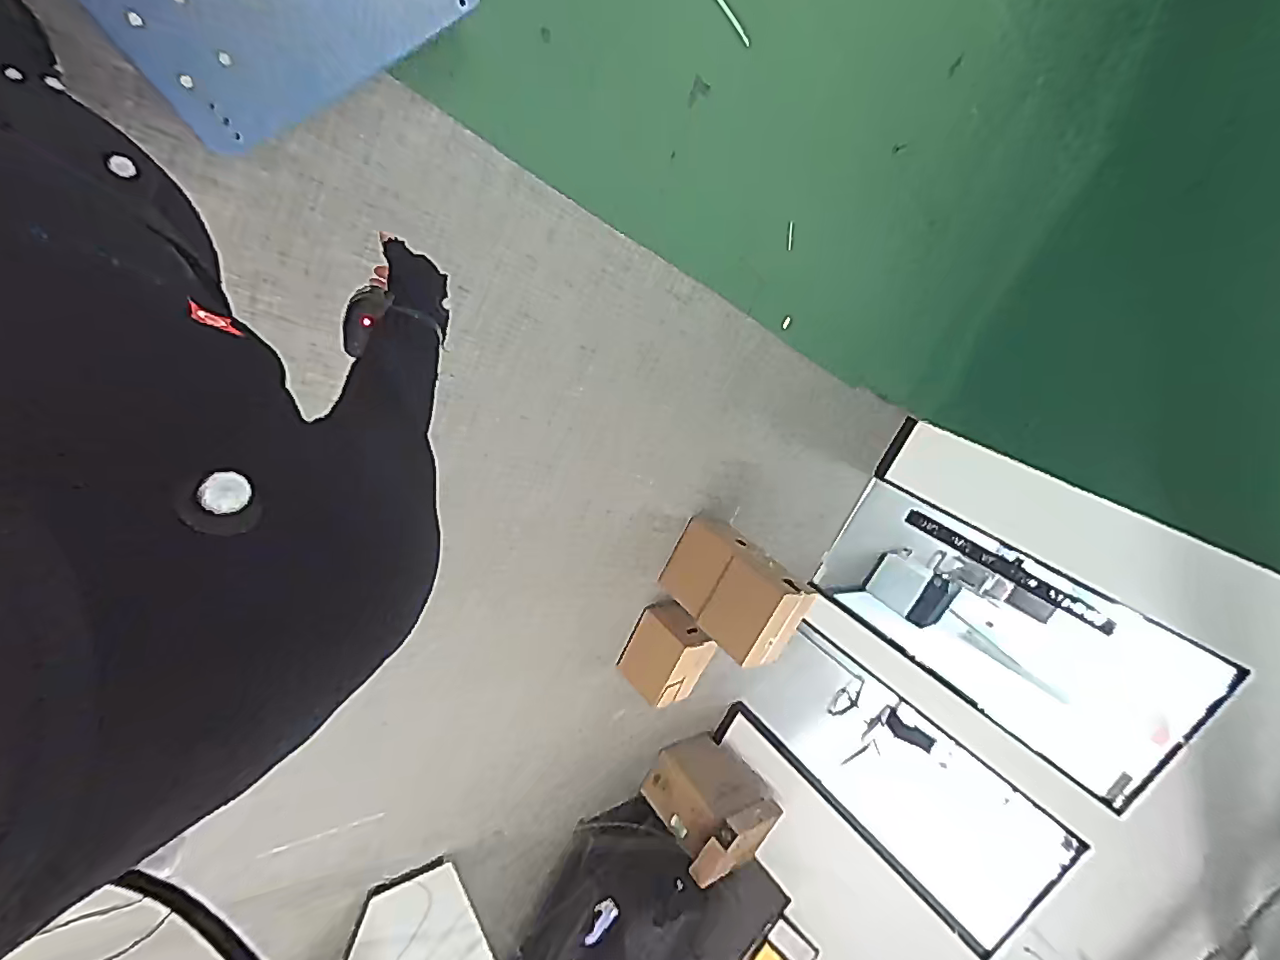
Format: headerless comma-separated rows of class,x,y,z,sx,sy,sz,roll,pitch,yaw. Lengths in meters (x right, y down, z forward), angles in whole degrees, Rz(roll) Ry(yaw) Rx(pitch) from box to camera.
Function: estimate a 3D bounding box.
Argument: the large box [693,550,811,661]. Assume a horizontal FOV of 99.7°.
large box,0.522,0.576,2.544,0.320,0.320,0.408,11,111,-47
